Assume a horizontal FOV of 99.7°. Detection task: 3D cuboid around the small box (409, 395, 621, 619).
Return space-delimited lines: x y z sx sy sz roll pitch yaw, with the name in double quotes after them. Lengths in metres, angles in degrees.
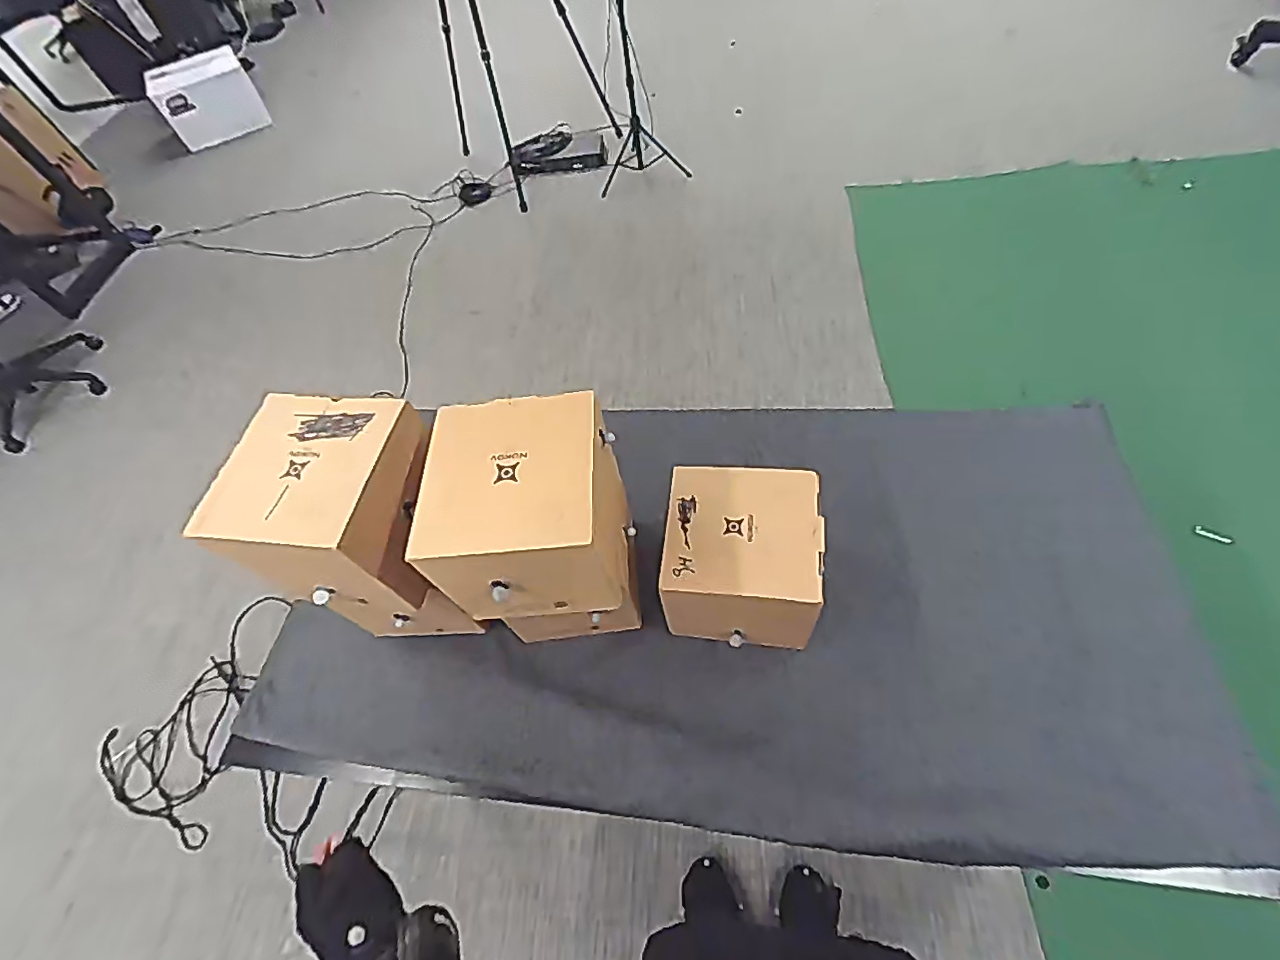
-0.112 0.038 0.570 0.168 0.176 0.179 -5 56 4 "small box"
